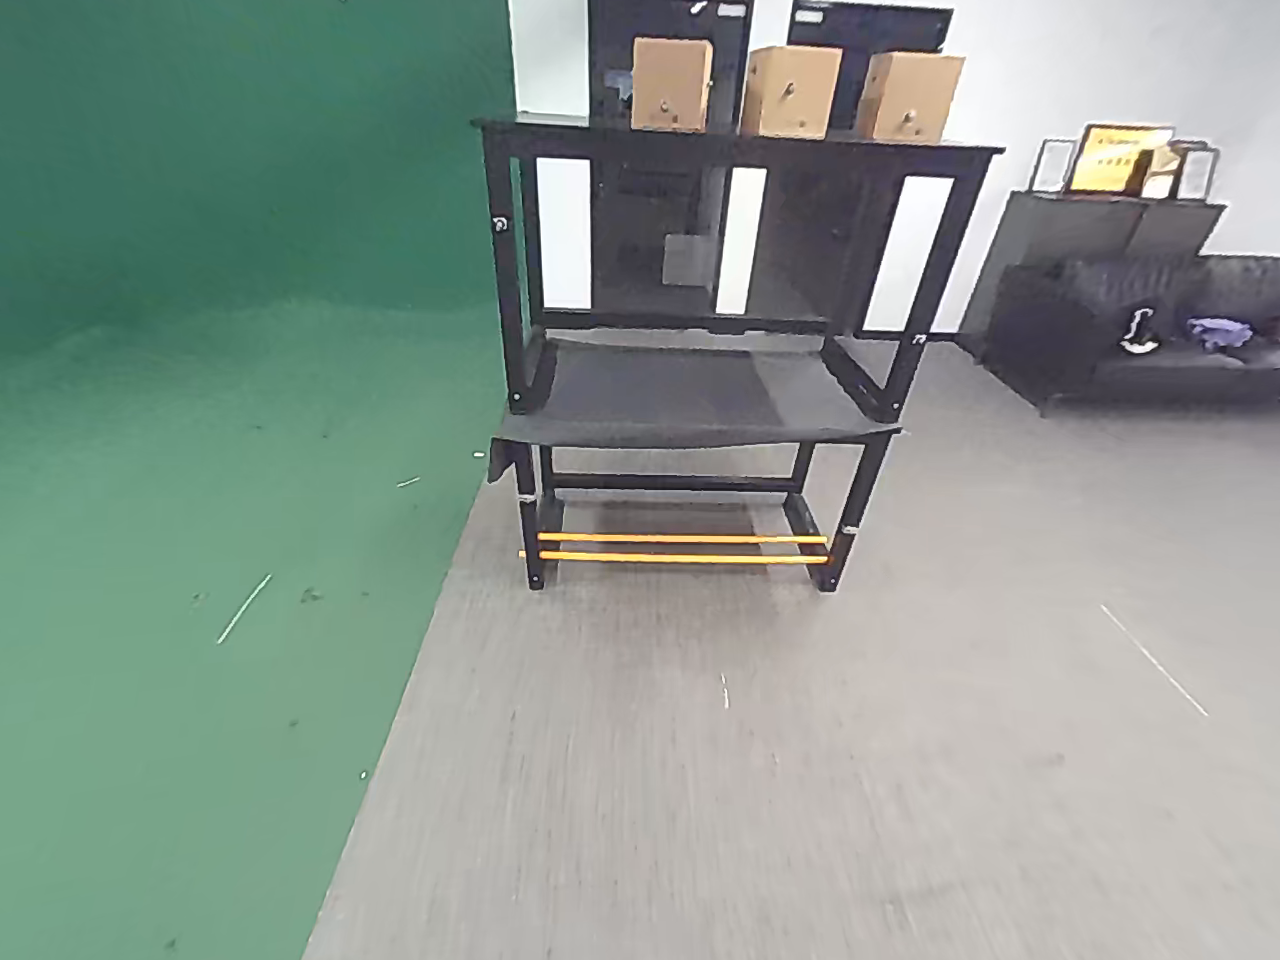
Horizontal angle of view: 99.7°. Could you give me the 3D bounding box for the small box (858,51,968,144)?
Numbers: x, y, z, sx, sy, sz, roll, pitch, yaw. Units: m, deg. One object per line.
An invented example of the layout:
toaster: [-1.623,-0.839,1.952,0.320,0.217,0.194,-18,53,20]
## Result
small box: [0.651,-0.929,1.318,0.168,0.176,0.179,4,36,2]

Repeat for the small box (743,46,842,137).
small box: [0.358,-0.928,1.300,0.168,0.176,0.179,-2,35,-7]
